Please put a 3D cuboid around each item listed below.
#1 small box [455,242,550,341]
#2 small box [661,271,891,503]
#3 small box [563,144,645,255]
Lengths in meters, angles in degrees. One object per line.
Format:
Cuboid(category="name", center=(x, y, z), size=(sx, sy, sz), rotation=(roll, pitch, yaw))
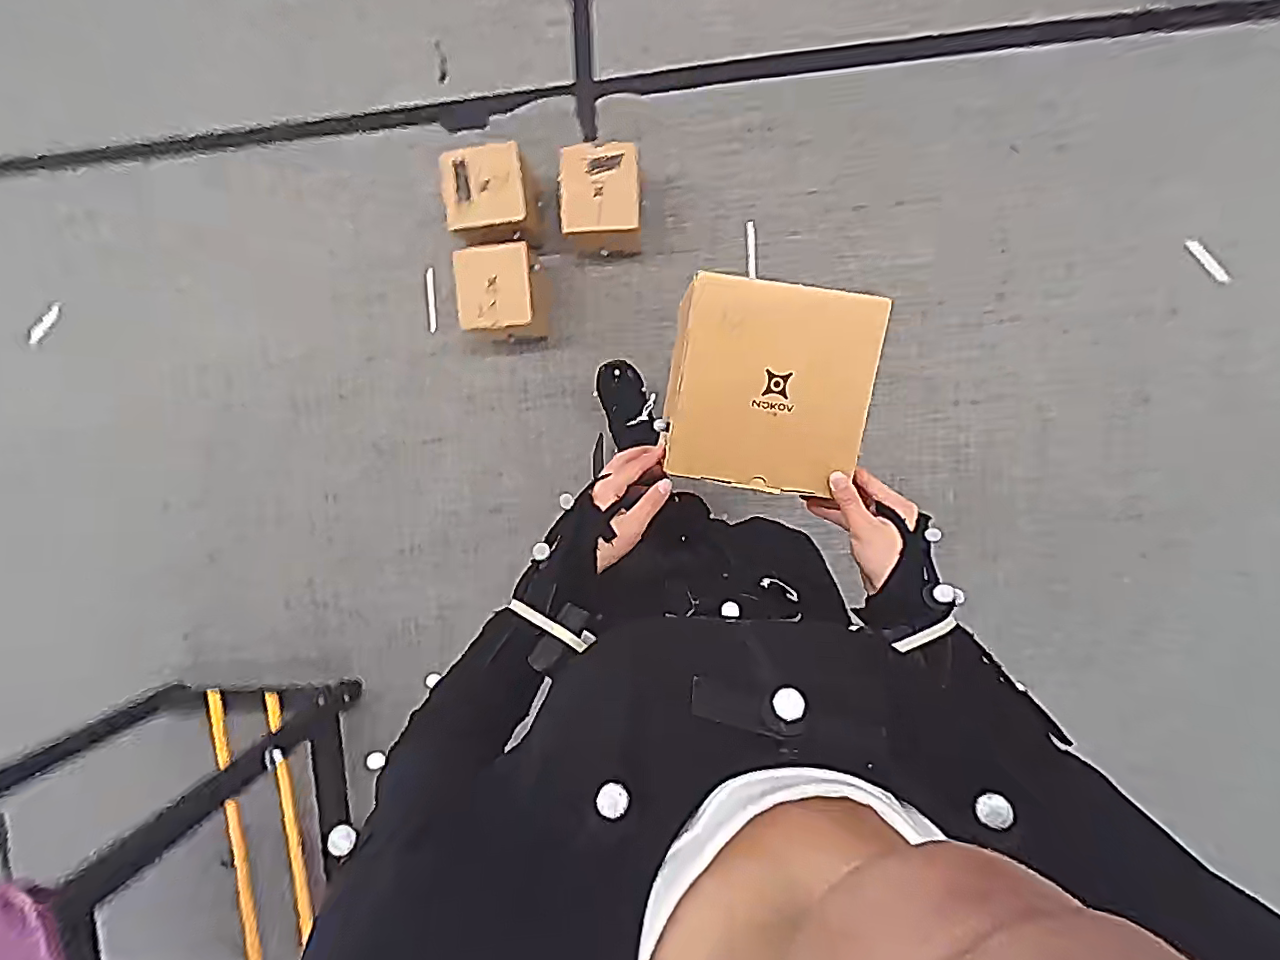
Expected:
Cuboid(category="small box", center=(-0.314, -0.431, 1.257), size=(0.168, 0.176, 0.179), rotation=(-3, 95, 5))
Cuboid(category="small box", center=(0.113, -0.089, 0.529), size=(0.168, 0.176, 0.179), rotation=(7, 101, -2))
Cuboid(category="small box", center=(-0.077, -0.627, 1.224), size=(0.168, 0.176, 0.179), rotation=(0, 96, 4))
